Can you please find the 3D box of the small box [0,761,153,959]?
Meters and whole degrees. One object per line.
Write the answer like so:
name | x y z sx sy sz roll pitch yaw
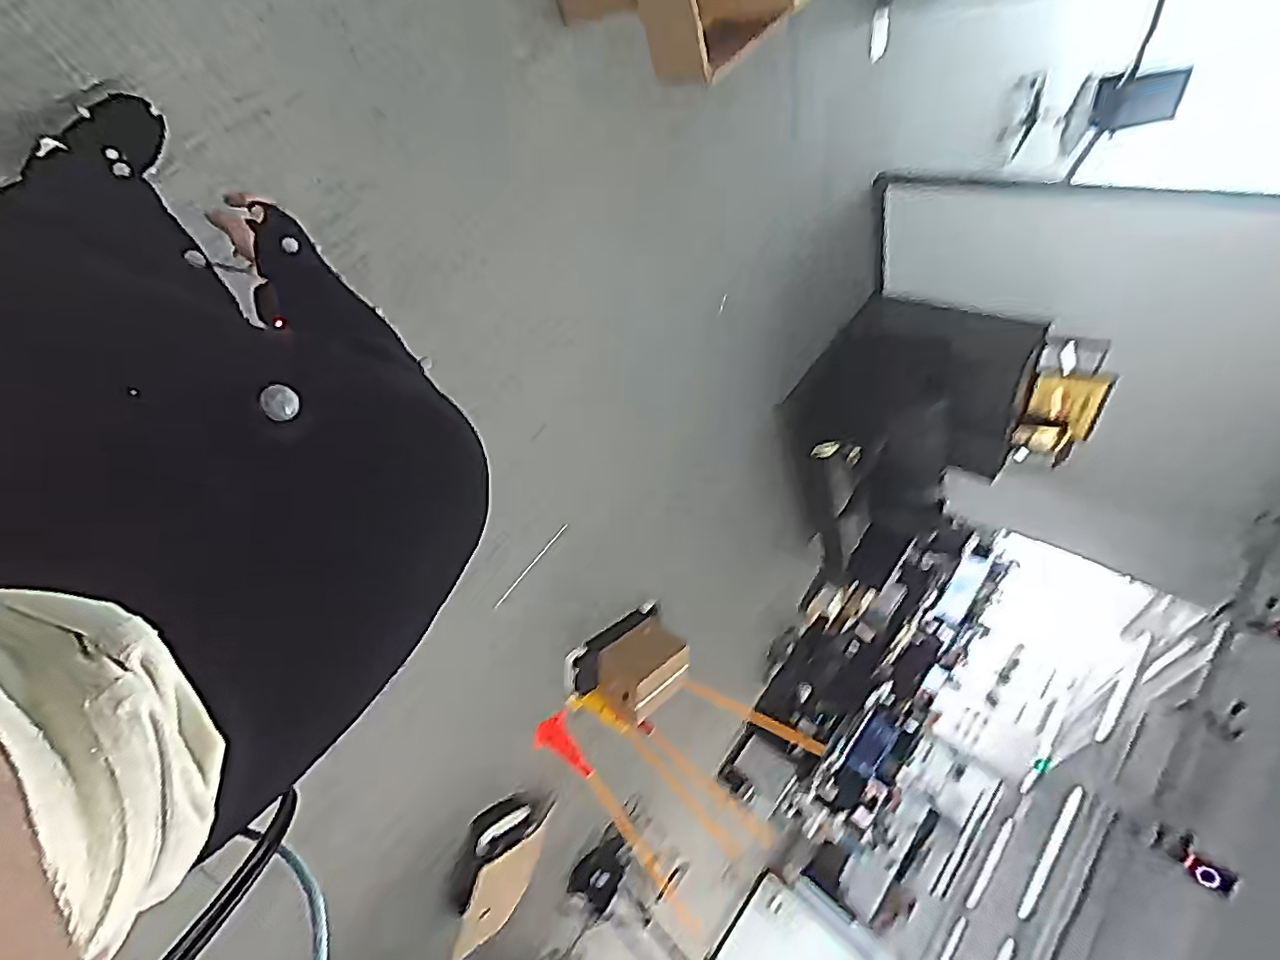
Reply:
small box | -0.824 0.521 0.733 0.179 0.176 0.168 -52 143 -13
